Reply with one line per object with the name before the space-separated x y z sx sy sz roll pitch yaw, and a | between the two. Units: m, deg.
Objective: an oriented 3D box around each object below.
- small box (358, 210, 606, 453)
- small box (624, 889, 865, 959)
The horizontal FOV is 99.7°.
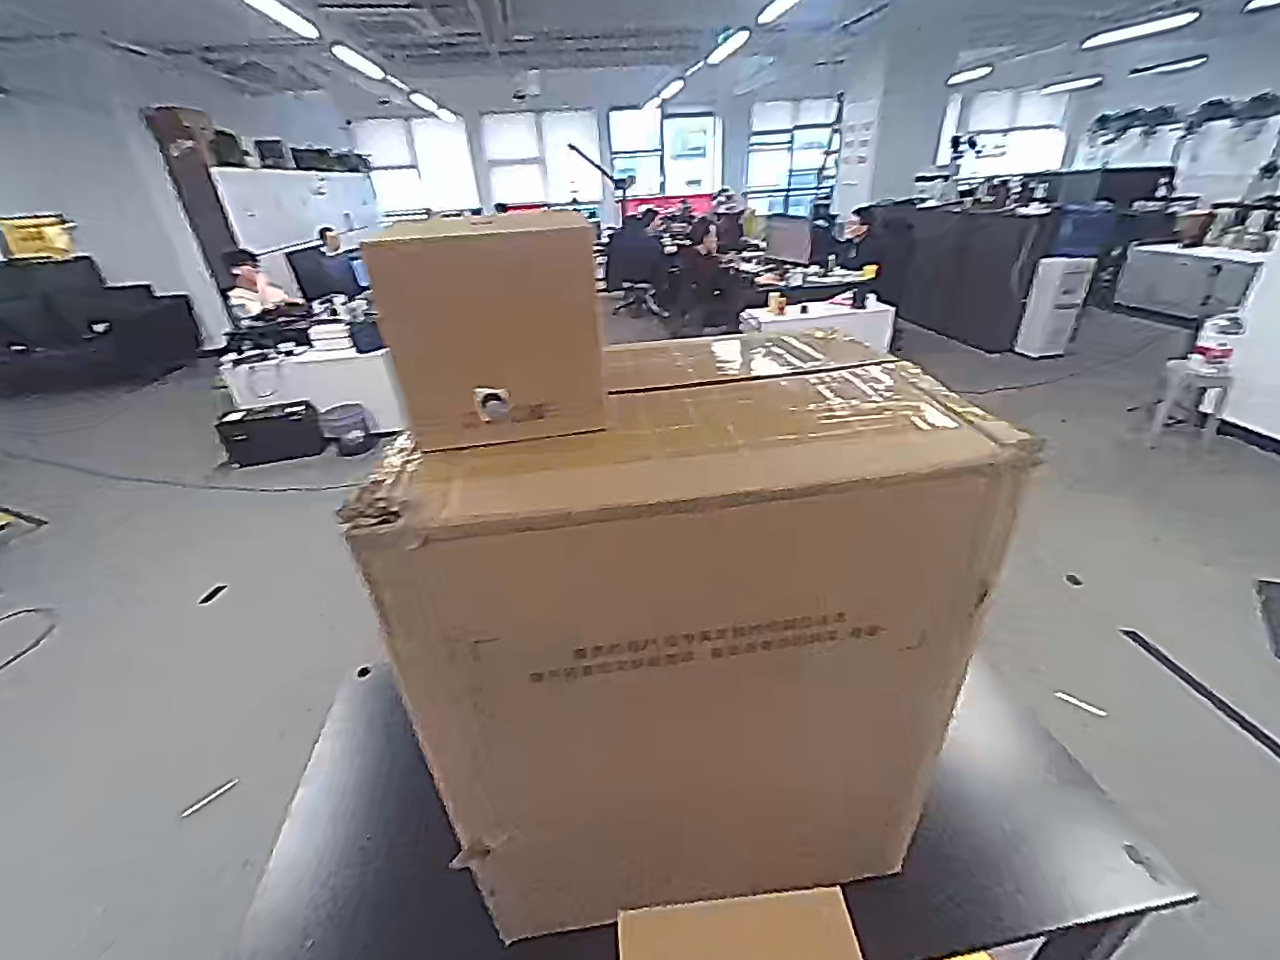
small box | -0.129 -0.142 0.492 0.168 0.176 0.179 -10 32 -10
small box | 0.077 0.420 0.371 0.168 0.176 0.179 -5 37 -1
